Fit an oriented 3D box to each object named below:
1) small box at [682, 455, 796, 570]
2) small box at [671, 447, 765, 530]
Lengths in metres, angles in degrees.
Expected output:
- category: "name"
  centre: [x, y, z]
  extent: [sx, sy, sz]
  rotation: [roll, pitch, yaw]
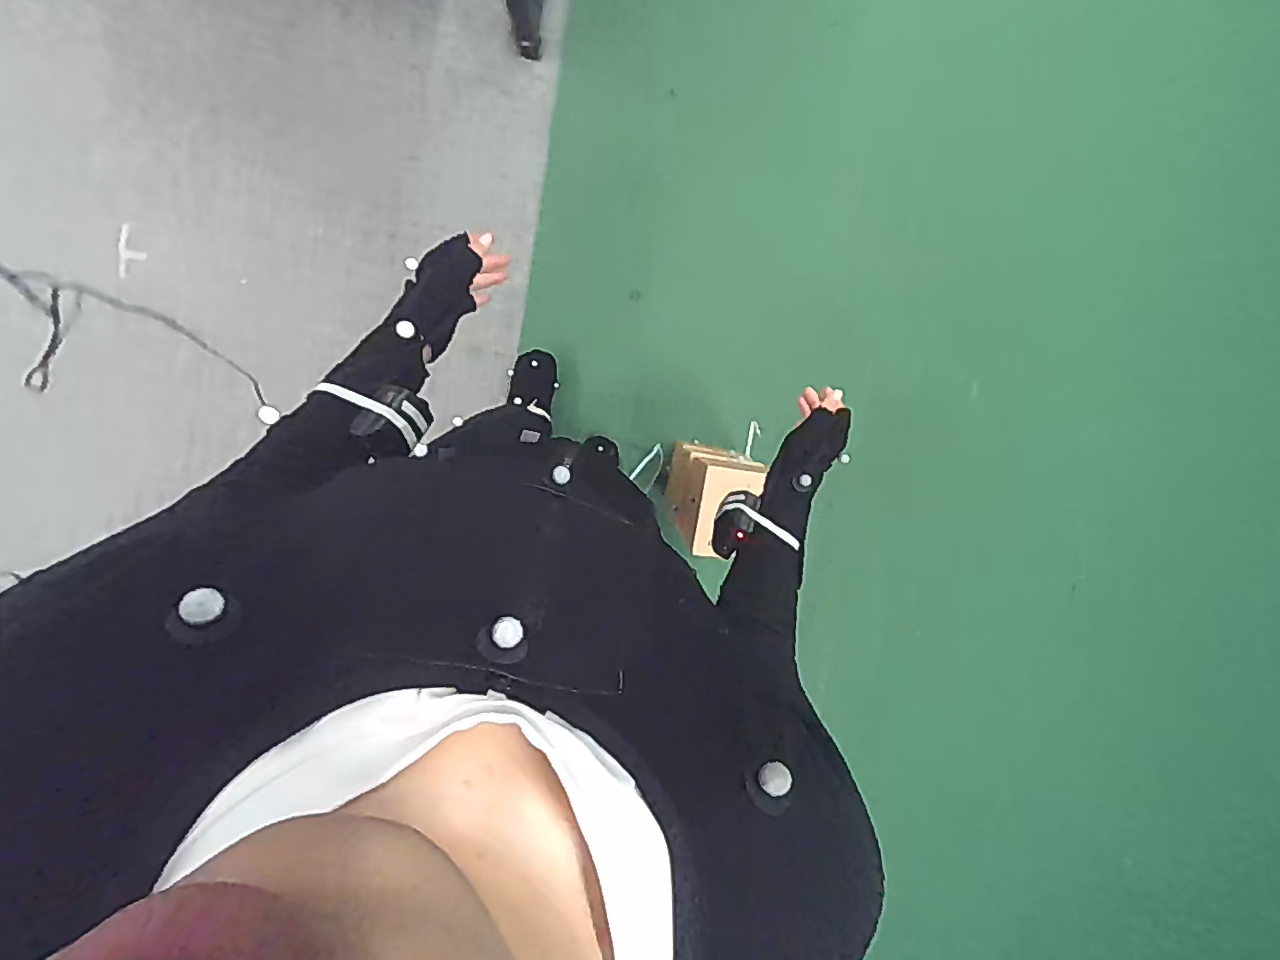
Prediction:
- category: "small box"
  centre: [0.187, 0.058, 1.082]
  extent: [0.168, 0.176, 0.179]
  rotation: [12, 98, -6]
- category: "small box"
  centre: [0.170, 0.025, 1.245]
  extent: [0.168, 0.176, 0.179]
  rotation: [10, 98, -3]
